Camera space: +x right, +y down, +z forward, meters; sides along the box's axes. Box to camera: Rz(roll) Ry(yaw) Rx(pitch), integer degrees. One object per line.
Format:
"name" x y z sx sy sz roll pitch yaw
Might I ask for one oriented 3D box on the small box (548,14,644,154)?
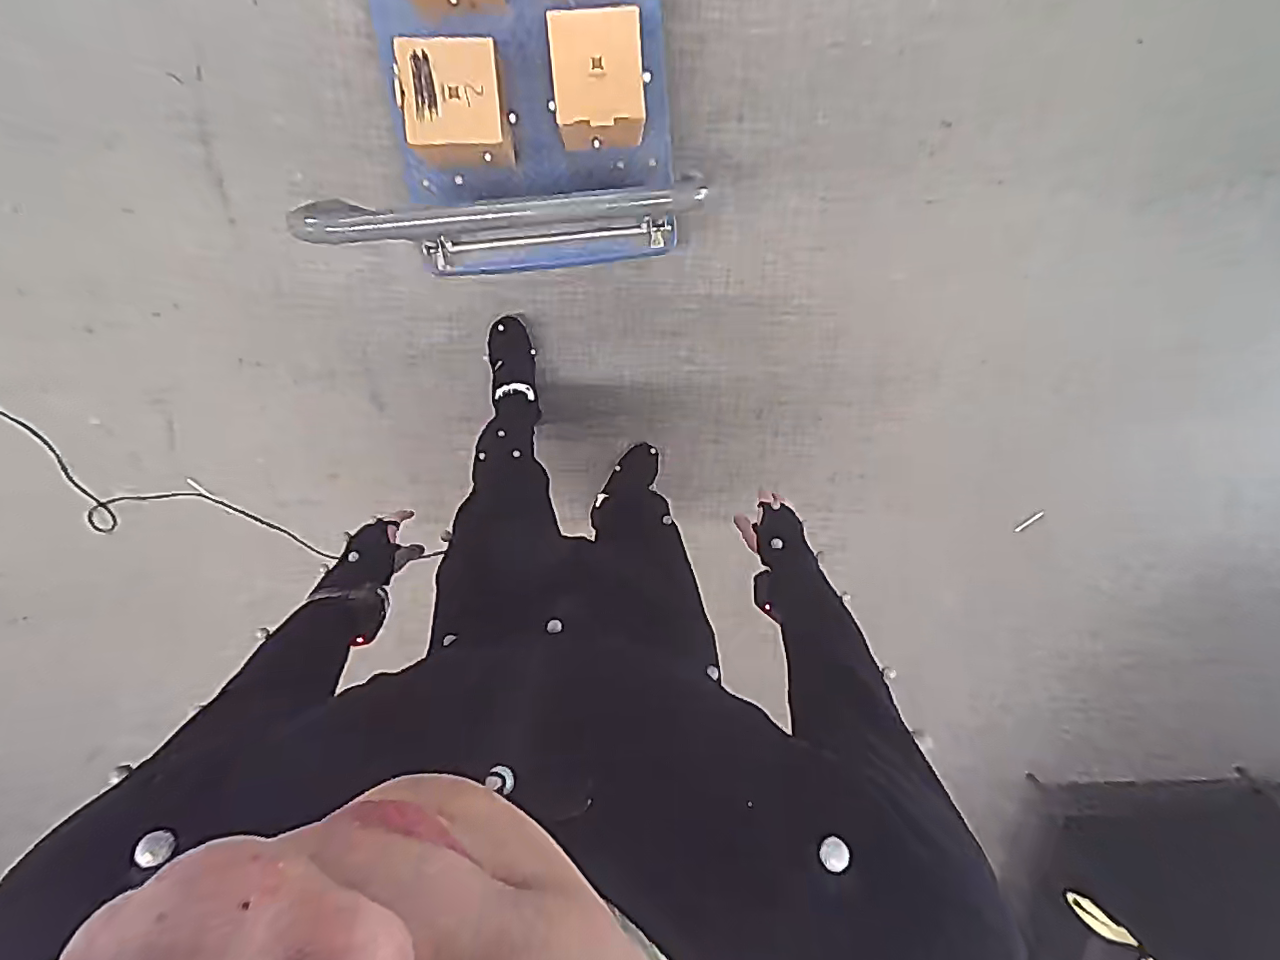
"small box" -0.085 -0.767 1.062 0.168 0.176 0.179 -5 107 -2

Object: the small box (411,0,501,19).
"small box" -0.360 -0.980 0.979 0.168 0.176 0.179 -10 107 -1
